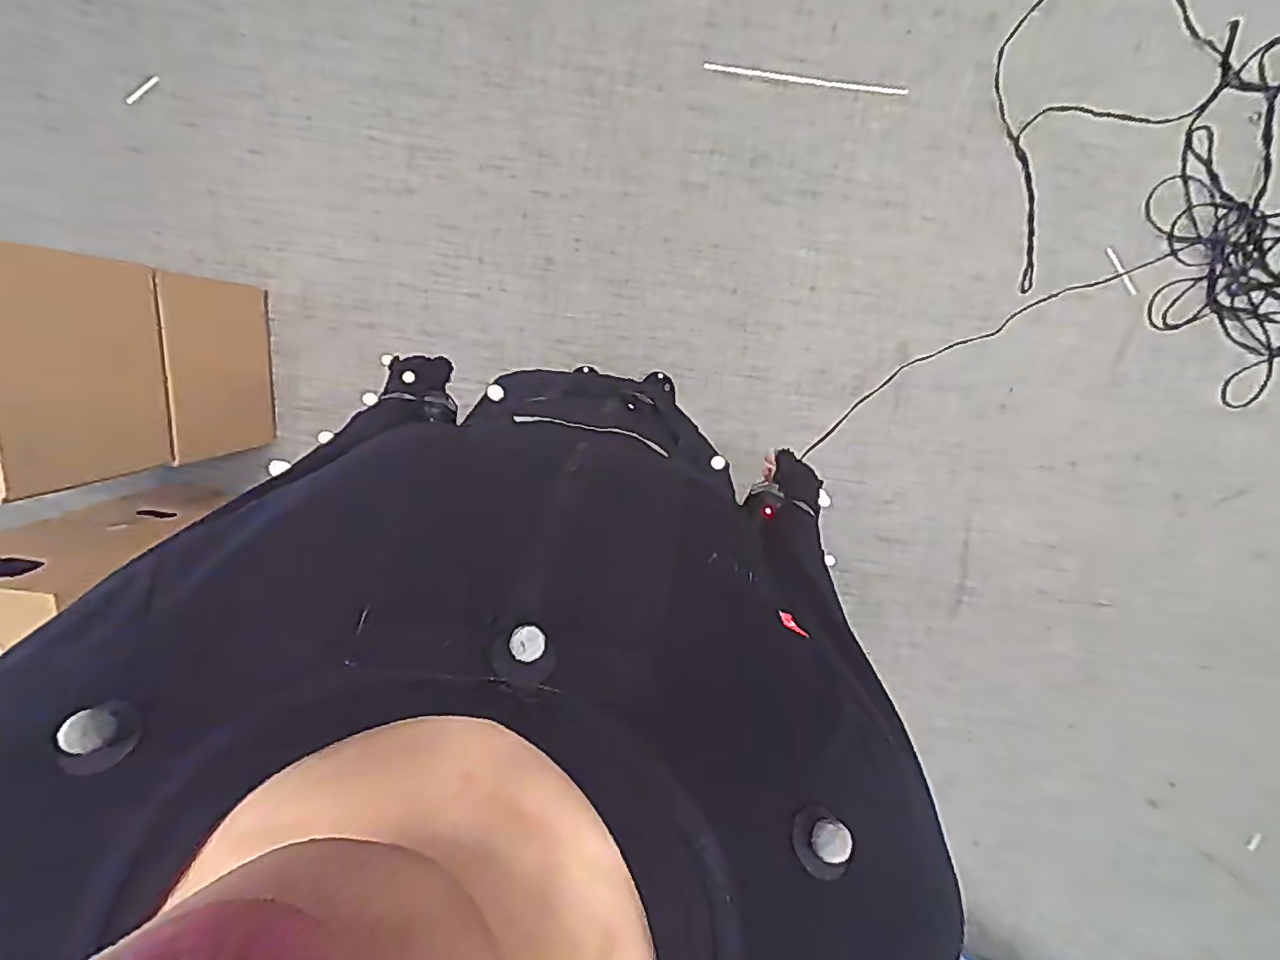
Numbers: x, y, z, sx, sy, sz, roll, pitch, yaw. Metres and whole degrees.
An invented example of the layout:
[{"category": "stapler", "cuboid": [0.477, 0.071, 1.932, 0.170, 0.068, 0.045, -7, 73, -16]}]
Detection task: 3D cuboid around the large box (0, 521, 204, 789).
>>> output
[{"category": "large box", "cuboid": [-1.161, 0.330, 1.095, 0.320, 0.320, 0.408, 7, 102, -3]}]
